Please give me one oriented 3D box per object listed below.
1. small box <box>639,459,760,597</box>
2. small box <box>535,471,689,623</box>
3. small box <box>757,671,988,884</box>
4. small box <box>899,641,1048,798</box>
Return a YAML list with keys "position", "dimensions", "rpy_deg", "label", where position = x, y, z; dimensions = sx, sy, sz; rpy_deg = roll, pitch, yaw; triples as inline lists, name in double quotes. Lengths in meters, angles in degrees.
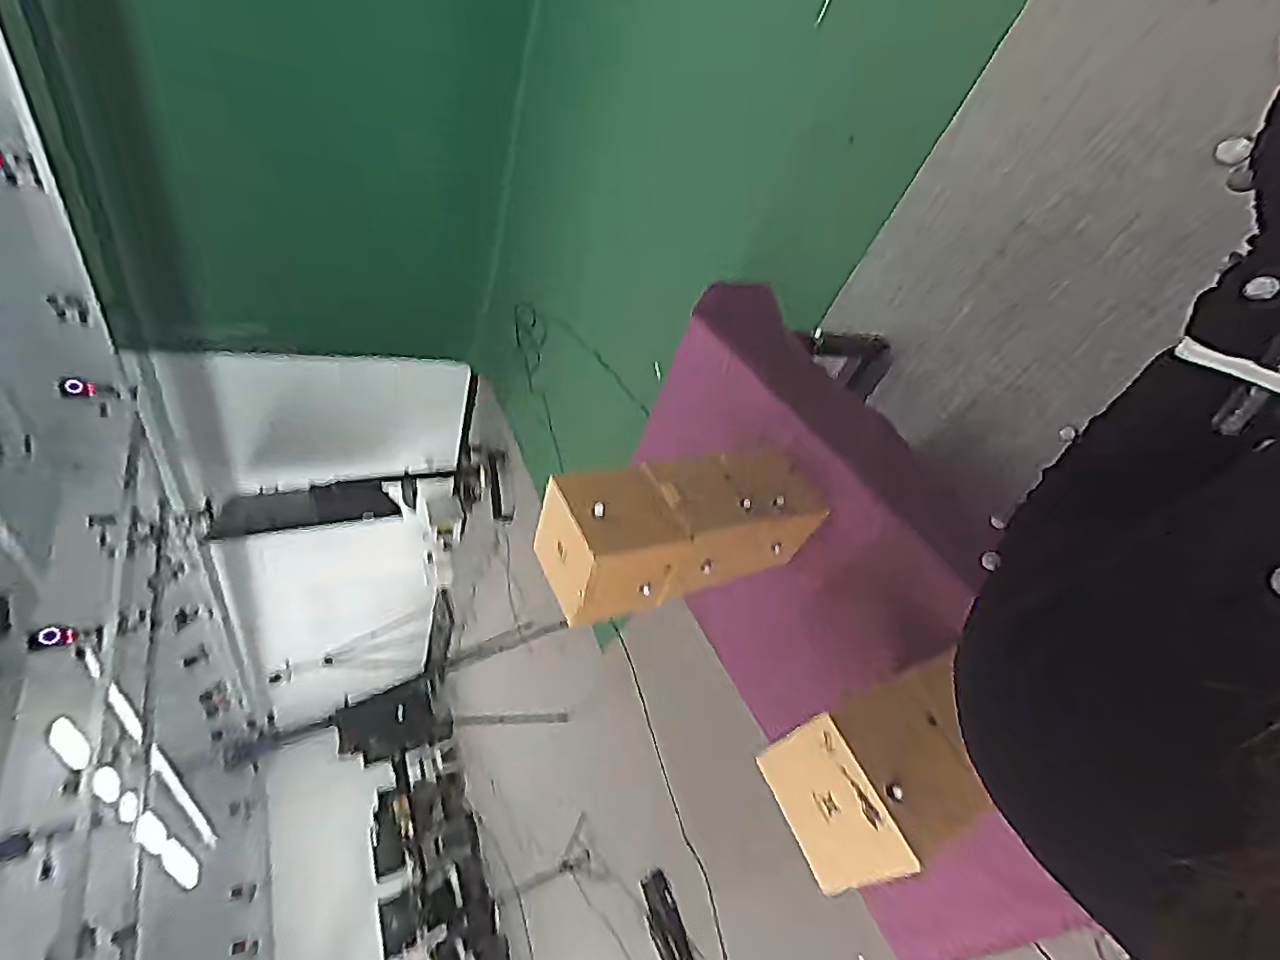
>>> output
- position: [0.086, 0.079, 0.965]
  dimensions: [0.168, 0.176, 0.179]
  rpy_deg: [57, 140, 36]
  label: "small box"
- position: [-0.050, 0.099, 0.877]
  dimensions: [0.179, 0.176, 0.168]
  rpy_deg: [55, 138, 36]
  label: "small box"
- position: [0.290, 0.374, 0.691]
  dimensions: [0.168, 0.176, 0.179]
  rpy_deg: [60, 141, 31]
  label: "small box"
- position: [0.429, 0.358, 0.780]
  dimensions: [0.168, 0.176, 0.179]
  rpy_deg: [61, 141, 31]
  label: "small box"
